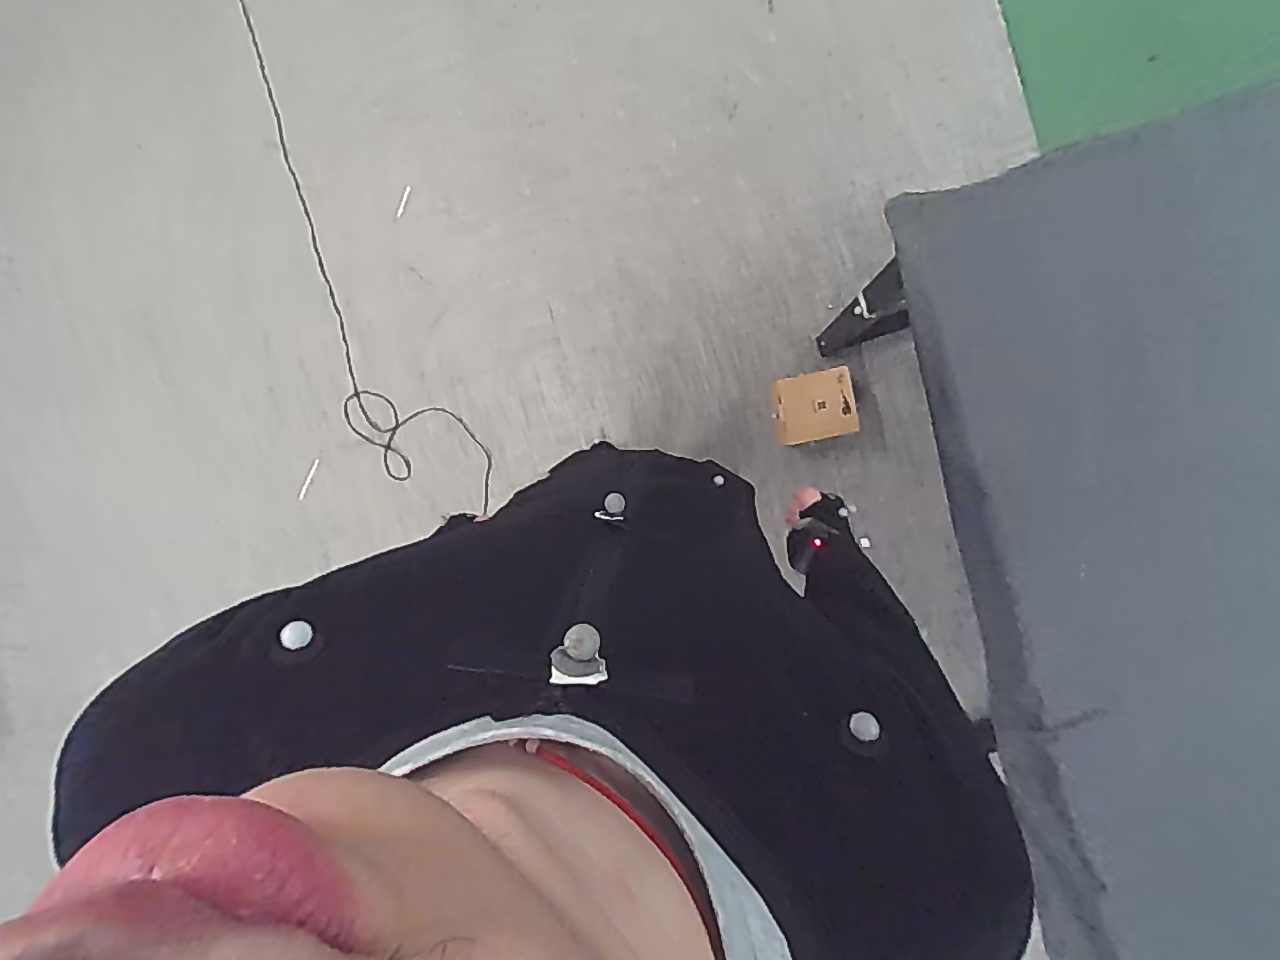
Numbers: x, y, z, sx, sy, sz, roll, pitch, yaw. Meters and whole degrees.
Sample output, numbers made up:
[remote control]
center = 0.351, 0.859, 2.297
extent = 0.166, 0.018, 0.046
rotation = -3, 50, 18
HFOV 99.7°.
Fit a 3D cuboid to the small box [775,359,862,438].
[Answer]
[small box]
center = 0.452, -0.203, 1.400
extent = 0.179, 0.176, 0.168
rotation = -11, 93, 7
